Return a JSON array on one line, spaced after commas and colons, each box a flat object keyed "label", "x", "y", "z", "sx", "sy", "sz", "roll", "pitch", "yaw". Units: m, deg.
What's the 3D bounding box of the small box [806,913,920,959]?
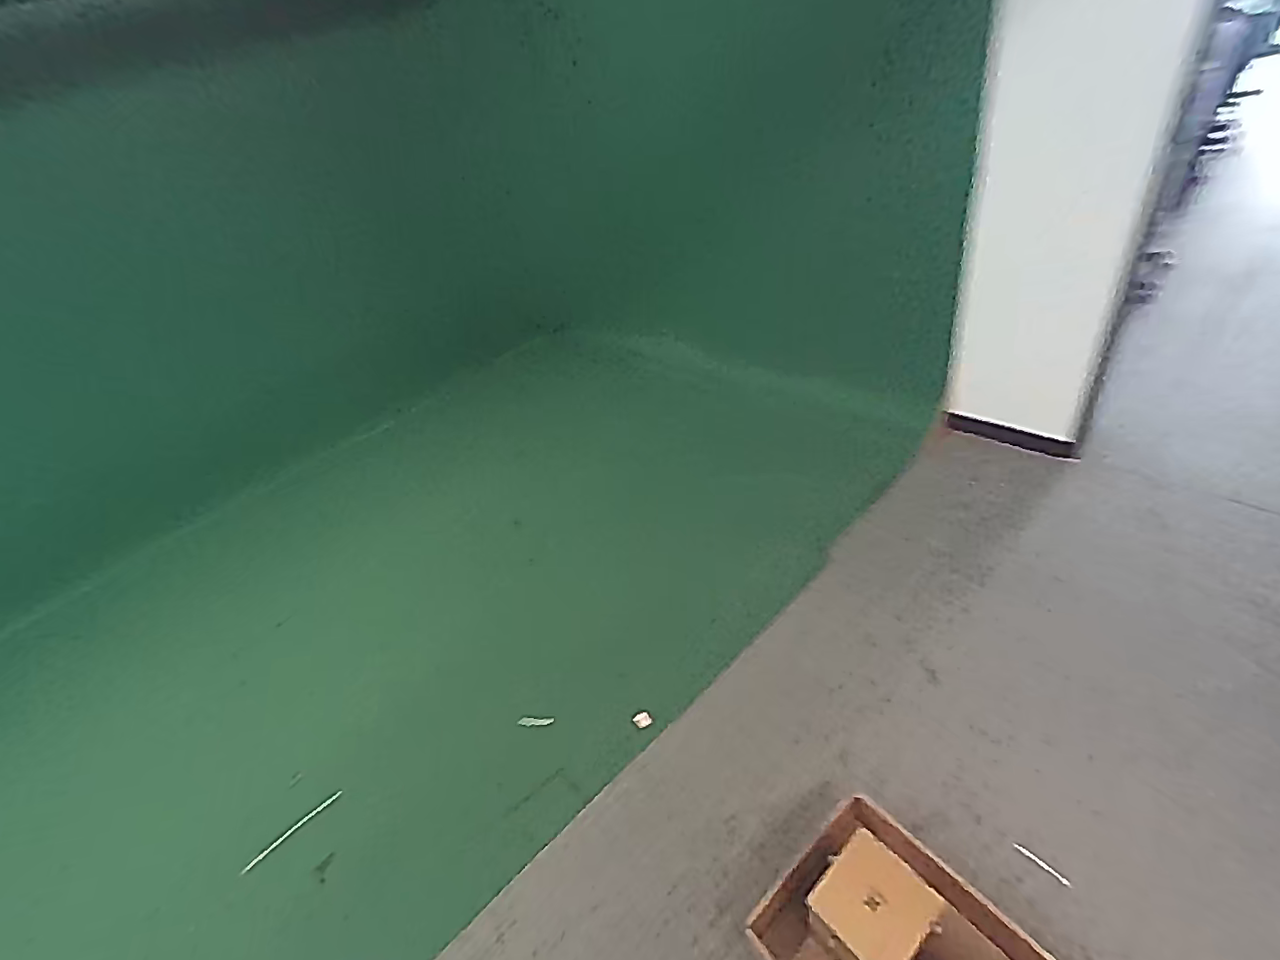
[{"label": "small box", "x": 0.469, "y": 0.933, "z": 1.119, "sx": 0.179, "sy": 0.176, "sz": 0.168, "roll": -35, "pitch": 42, "yaw": -22}]

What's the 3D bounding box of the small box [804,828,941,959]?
[{"label": "small box", "x": 0.433, "y": 0.813, "z": 1.015, "sx": 0.179, "sy": 0.176, "sz": 0.168, "roll": -36, "pitch": 42, "yaw": -22}]
